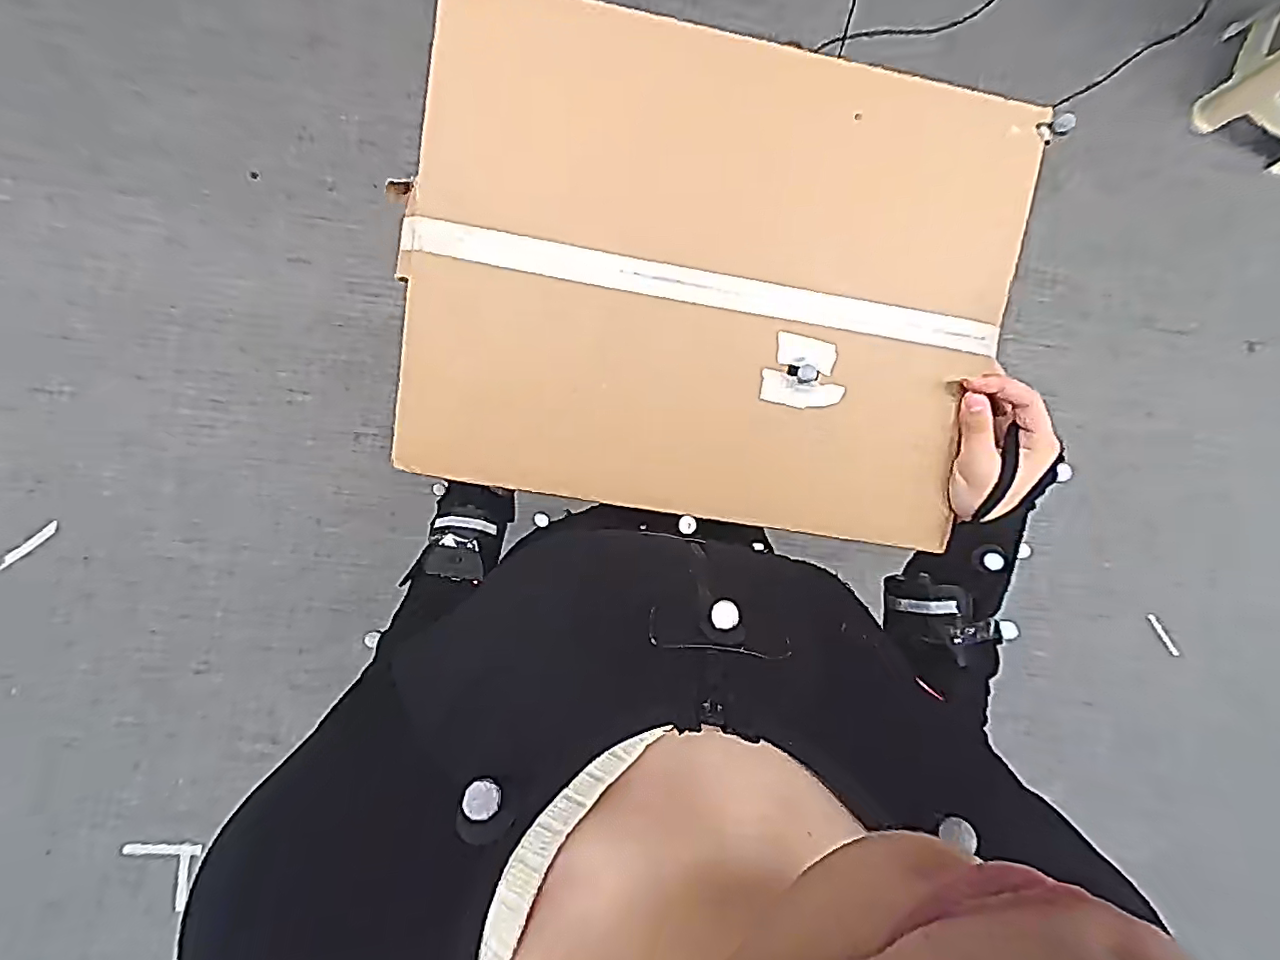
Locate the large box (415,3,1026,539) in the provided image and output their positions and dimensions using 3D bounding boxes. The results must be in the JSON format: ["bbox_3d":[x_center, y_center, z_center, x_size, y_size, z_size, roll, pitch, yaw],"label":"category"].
[{"bbox_3d":[0.042,-0.148,0.524,0.408,0.320,0.320,8,98,-6],"label":"large box"}]
